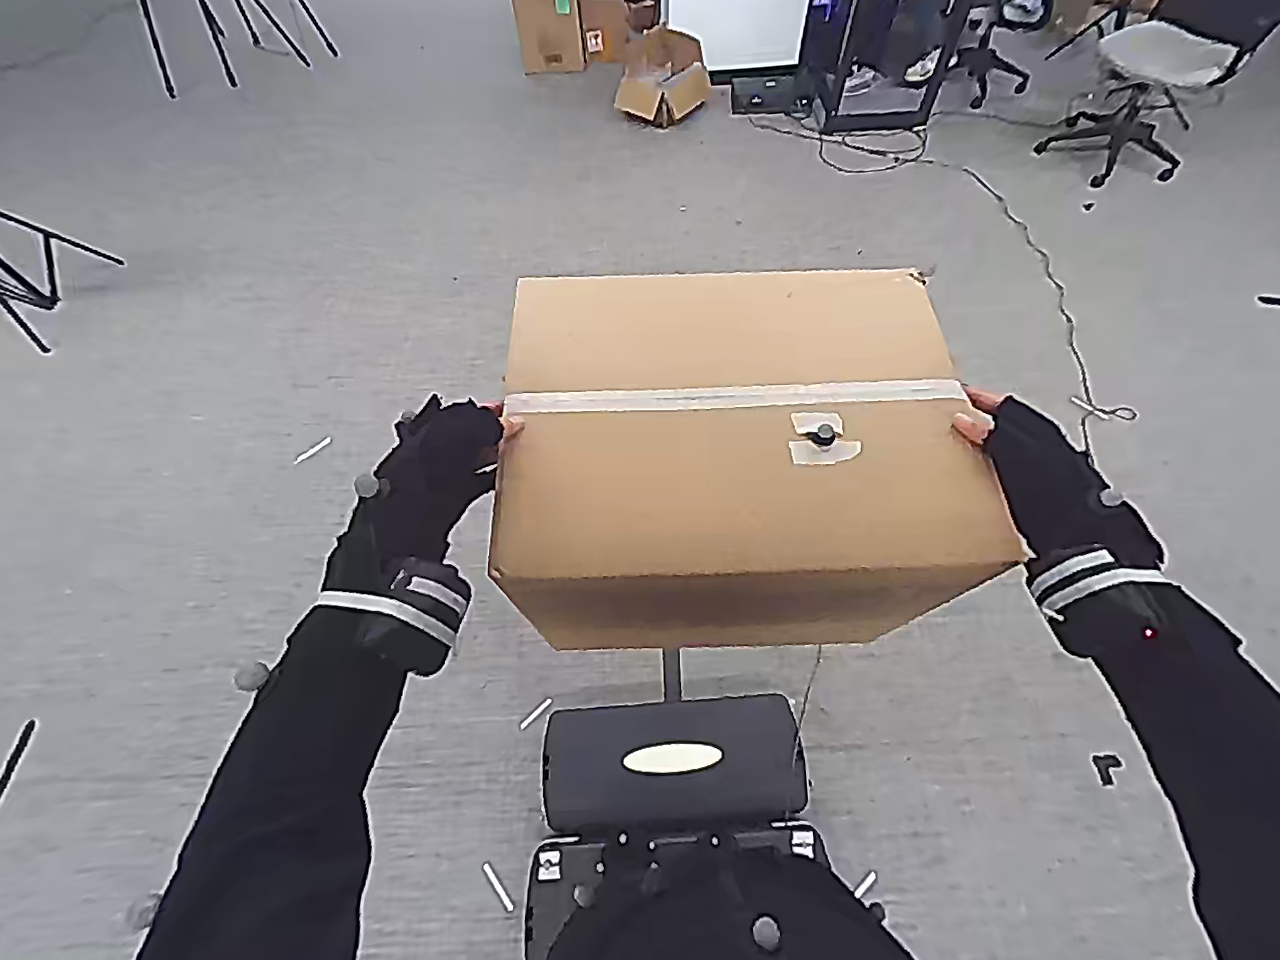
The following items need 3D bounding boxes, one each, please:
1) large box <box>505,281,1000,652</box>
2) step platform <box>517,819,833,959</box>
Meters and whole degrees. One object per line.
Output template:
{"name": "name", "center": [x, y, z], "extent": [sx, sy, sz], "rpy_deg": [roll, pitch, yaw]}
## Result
{"name": "large box", "center": [0.081, 0.004, 0.623], "extent": [0.408, 0.320, 0.320], "rpy_deg": [-2, 64, -1]}
{"name": "step platform", "center": [0.073, 0.961, 1.221], "extent": [0.684, 0.204, 0.286], "rpy_deg": [-6, 58, 1]}
